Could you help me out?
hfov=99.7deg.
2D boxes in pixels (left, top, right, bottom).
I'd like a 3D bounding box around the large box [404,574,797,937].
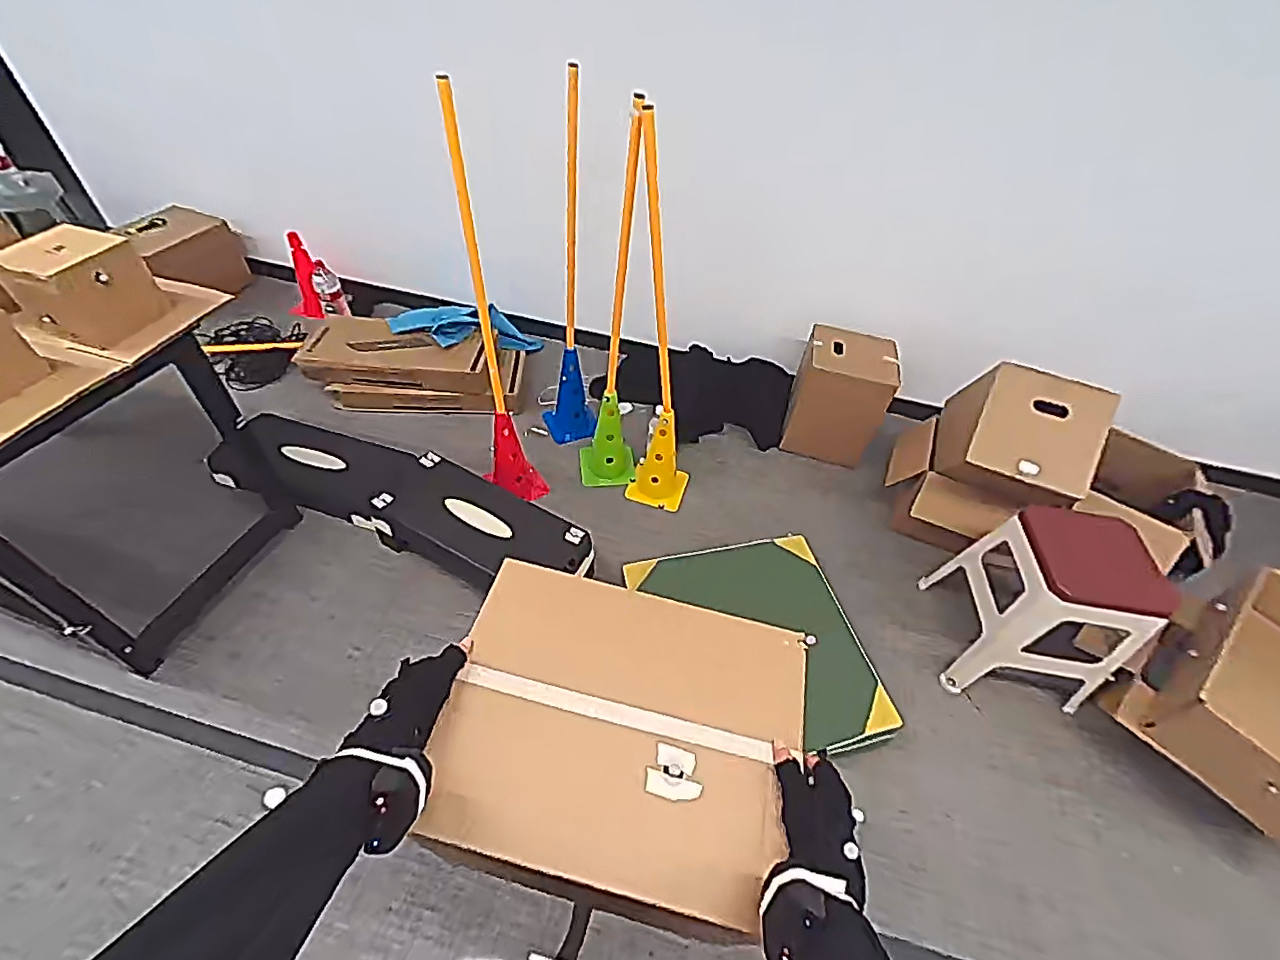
[{"bbox_3d":[-0.034,0.376,0.738,0.408,0.320,0.320,14,50,3],"label":"large box"}]
